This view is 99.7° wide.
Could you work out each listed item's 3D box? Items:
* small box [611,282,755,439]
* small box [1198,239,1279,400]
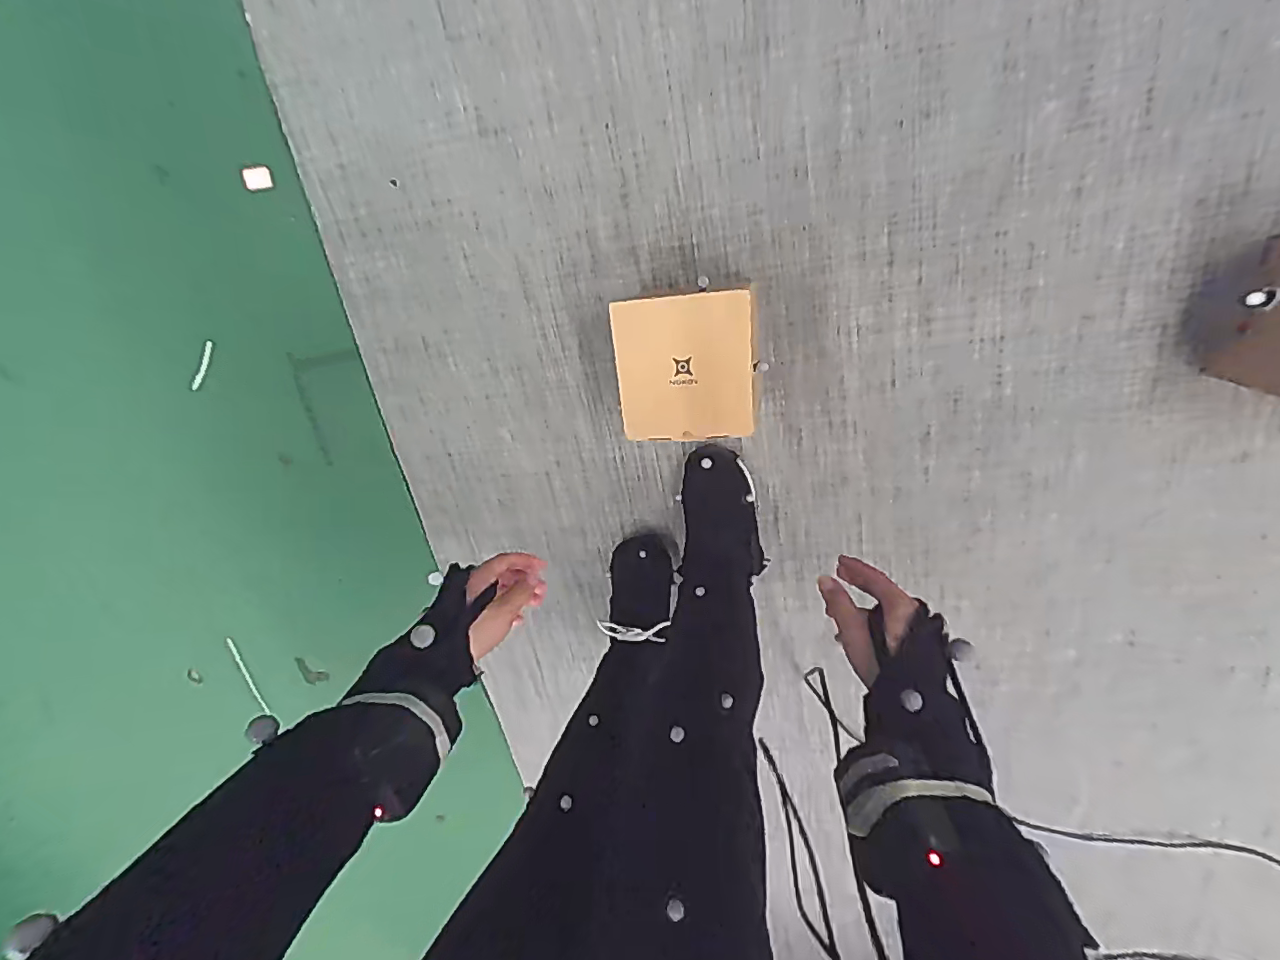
[{"bbox_3d":[0.068,-0.165,0.721,0.168,0.176,0.179,-1,114,13],"label":"small box"},{"bbox_3d":[0.771,-0.161,0.563,0.179,0.176,0.168,11,114,9],"label":"small box"}]
